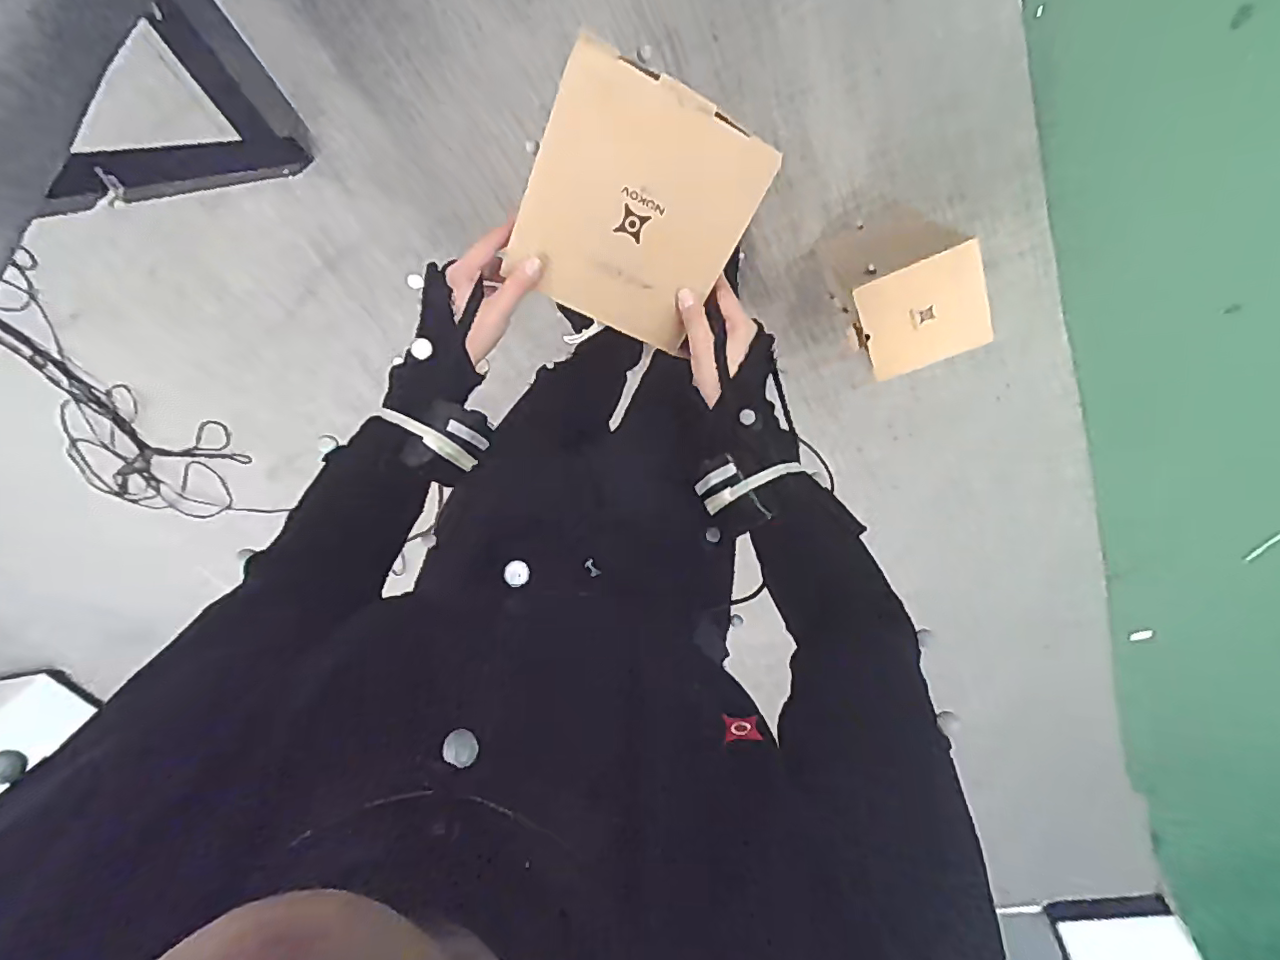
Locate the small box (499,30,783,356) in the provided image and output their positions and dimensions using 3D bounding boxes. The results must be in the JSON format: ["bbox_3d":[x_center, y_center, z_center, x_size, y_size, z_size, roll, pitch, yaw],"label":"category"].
[{"bbox_3d":[-0.007,-0.246,0.474,0.168,0.176,0.179,20,125,-15],"label":"small box"}]

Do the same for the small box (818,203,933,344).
[{"bbox_3d":[0.442,-0.384,1.002,0.179,0.176,0.168,-21,119,21],"label":"small box"}]

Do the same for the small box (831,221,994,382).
[{"bbox_3d":[0.428,-0.290,0.867,0.179,0.176,0.168,-20,120,19],"label":"small box"}]
